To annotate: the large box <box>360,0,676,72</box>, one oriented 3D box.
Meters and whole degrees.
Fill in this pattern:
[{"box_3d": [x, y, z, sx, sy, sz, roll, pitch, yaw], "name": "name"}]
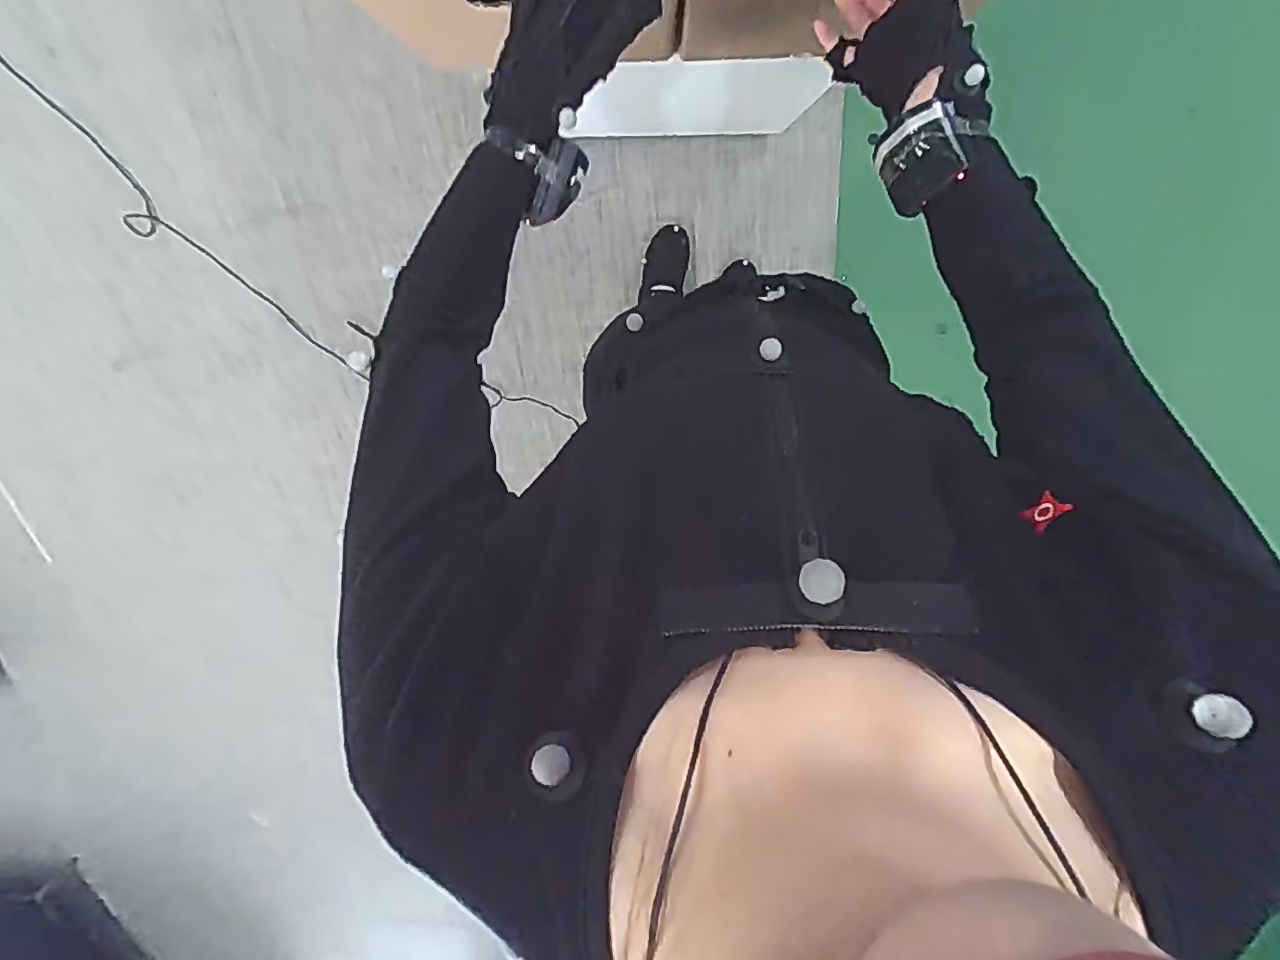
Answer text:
[{"box_3d": [-0.124, -0.665, 0.490, 0.320, 0.320, 0.408, -1, 112, 2], "name": "large box"}]
